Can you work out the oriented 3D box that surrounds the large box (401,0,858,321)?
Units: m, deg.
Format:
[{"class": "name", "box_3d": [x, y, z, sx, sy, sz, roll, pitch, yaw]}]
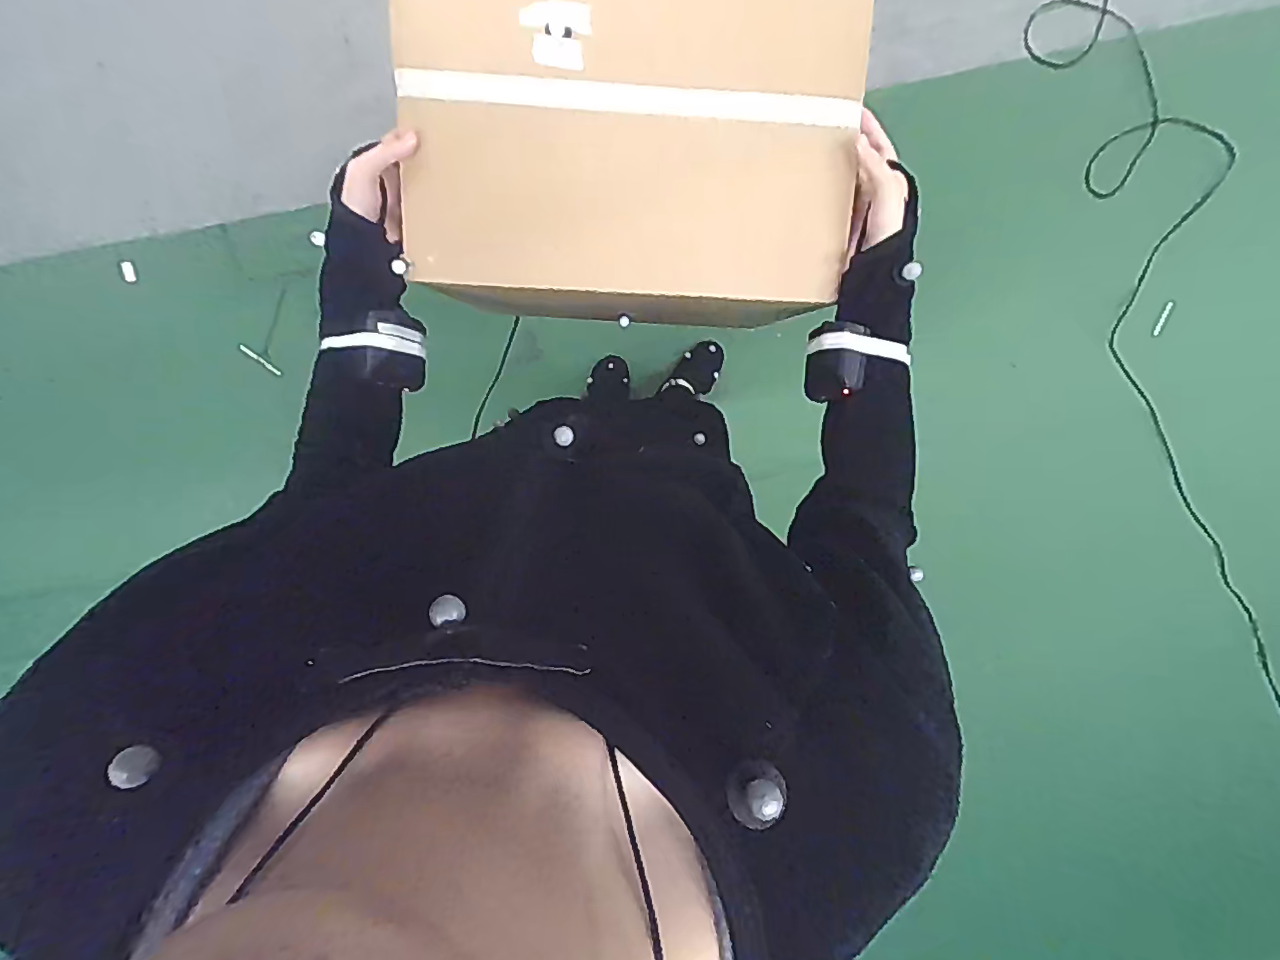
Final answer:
[{"class": "large box", "box_3d": [-0.012, -0.357, 0.630, 0.408, 0.320, 0.320, 1, 101, -3]}]
